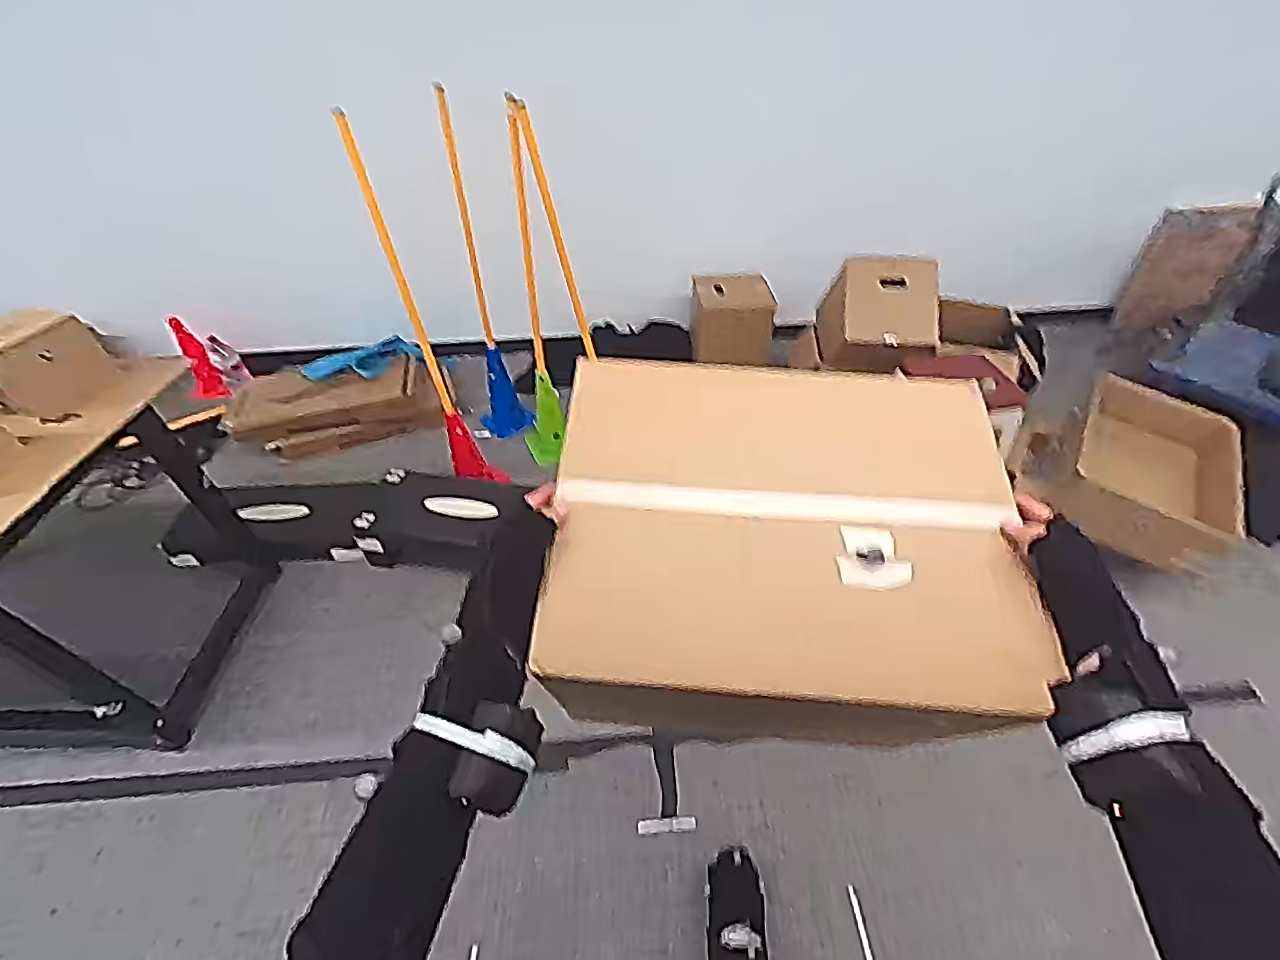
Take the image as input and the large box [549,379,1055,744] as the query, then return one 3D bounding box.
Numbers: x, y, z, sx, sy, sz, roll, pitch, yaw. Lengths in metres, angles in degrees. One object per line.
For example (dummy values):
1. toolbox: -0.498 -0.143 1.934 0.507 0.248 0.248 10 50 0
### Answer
1. large box: 0.129 0.110 0.622 0.408 0.320 0.320 4 60 1
